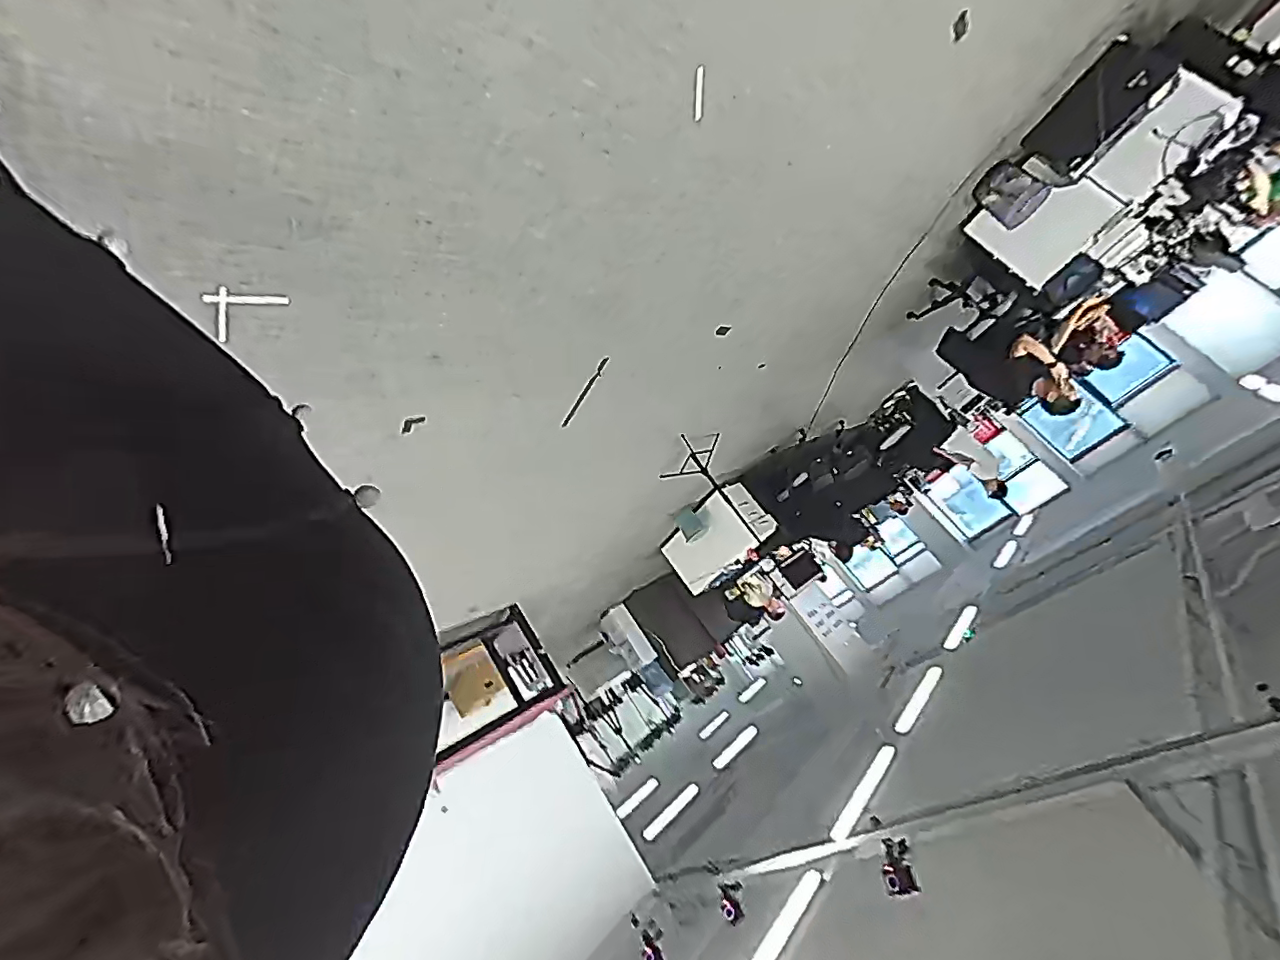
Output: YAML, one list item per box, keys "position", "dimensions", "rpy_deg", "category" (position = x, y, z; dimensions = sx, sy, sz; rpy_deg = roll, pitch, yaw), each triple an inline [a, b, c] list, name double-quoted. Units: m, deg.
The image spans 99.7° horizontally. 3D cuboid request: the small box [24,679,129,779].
- position: [-1.543, 0.676, 1.485]
  dimensions: [0.168, 0.176, 0.179]
  rpy_deg: [-16, 153, -45]
  category: "small box"
